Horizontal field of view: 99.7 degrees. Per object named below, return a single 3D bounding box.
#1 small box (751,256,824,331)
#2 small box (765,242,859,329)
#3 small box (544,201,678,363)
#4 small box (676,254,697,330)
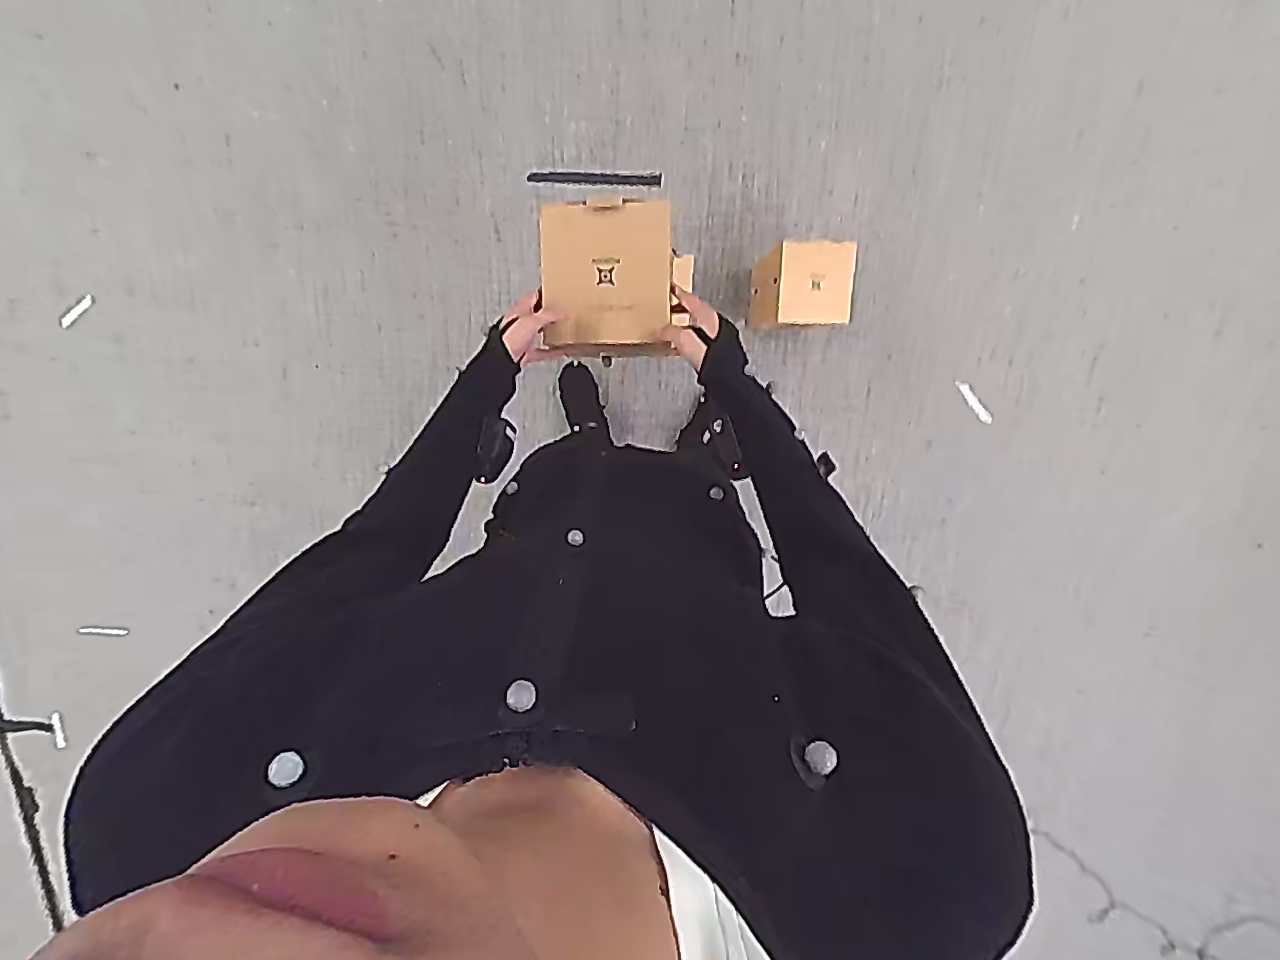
[{"bbox_3d":[0.394,-0.489,1.436,0.168,0.176,0.179,0,102,0],"label":"small box"},{"bbox_3d":[0.397,-0.452,1.278,0.168,0.176,0.179,1,102,0],"label":"small box"},{"bbox_3d":[-0.032,-0.260,0.745,0.168,0.176,0.179,0,96,5],"label":"small box"},{"bbox_3d":[0.053,-0.496,1.434,0.168,0.176,0.179,4,104,-1],"label":"small box"}]
